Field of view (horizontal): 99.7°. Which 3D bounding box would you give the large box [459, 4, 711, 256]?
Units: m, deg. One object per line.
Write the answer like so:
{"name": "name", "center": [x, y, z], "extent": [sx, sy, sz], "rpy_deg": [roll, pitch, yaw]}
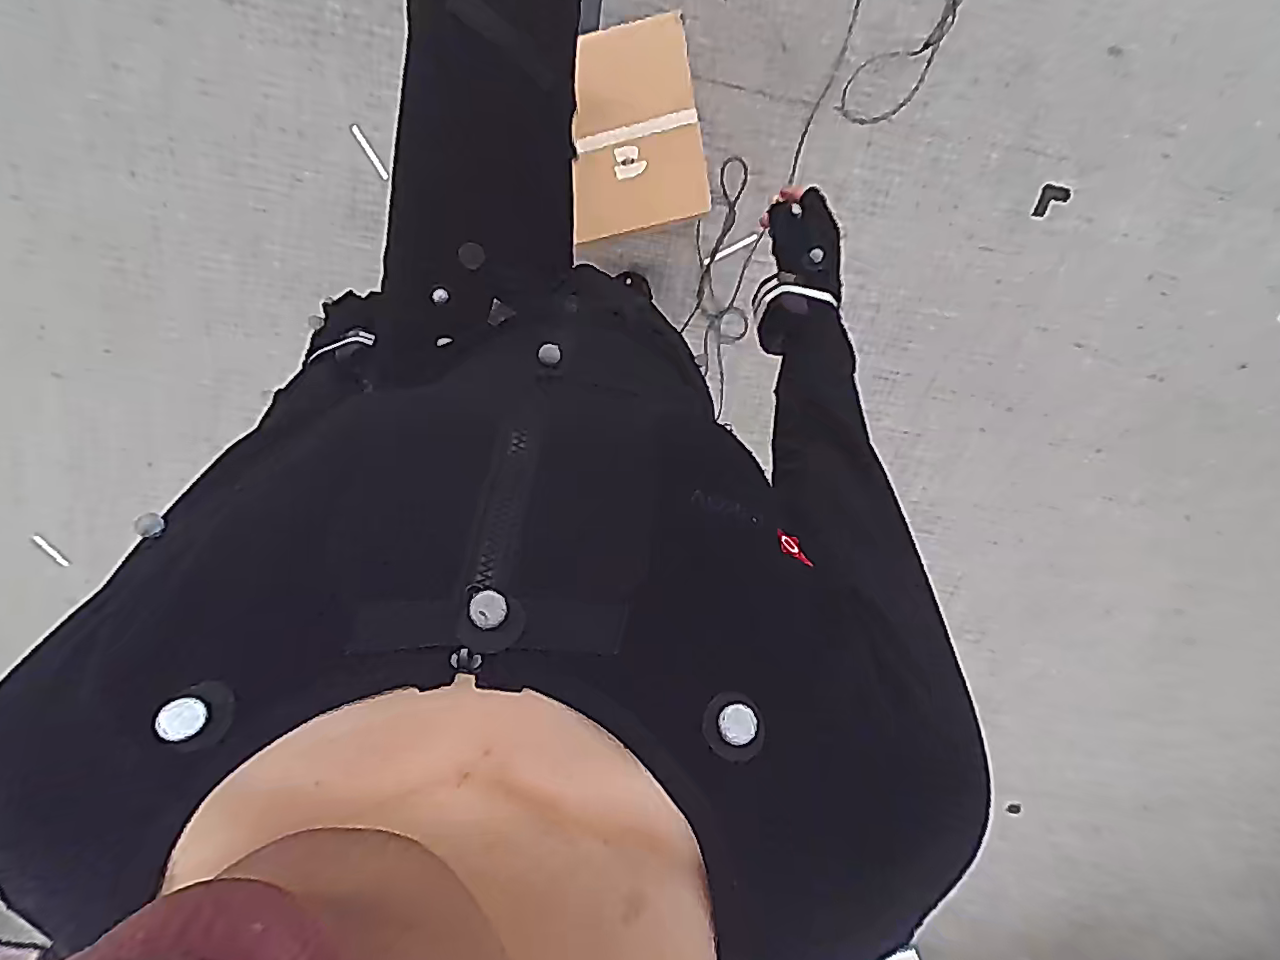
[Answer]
{"name": "large box", "center": [-0.094, -0.674, 1.116], "extent": [0.408, 0.320, 0.320], "rpy_deg": [-12, 112, 4]}
